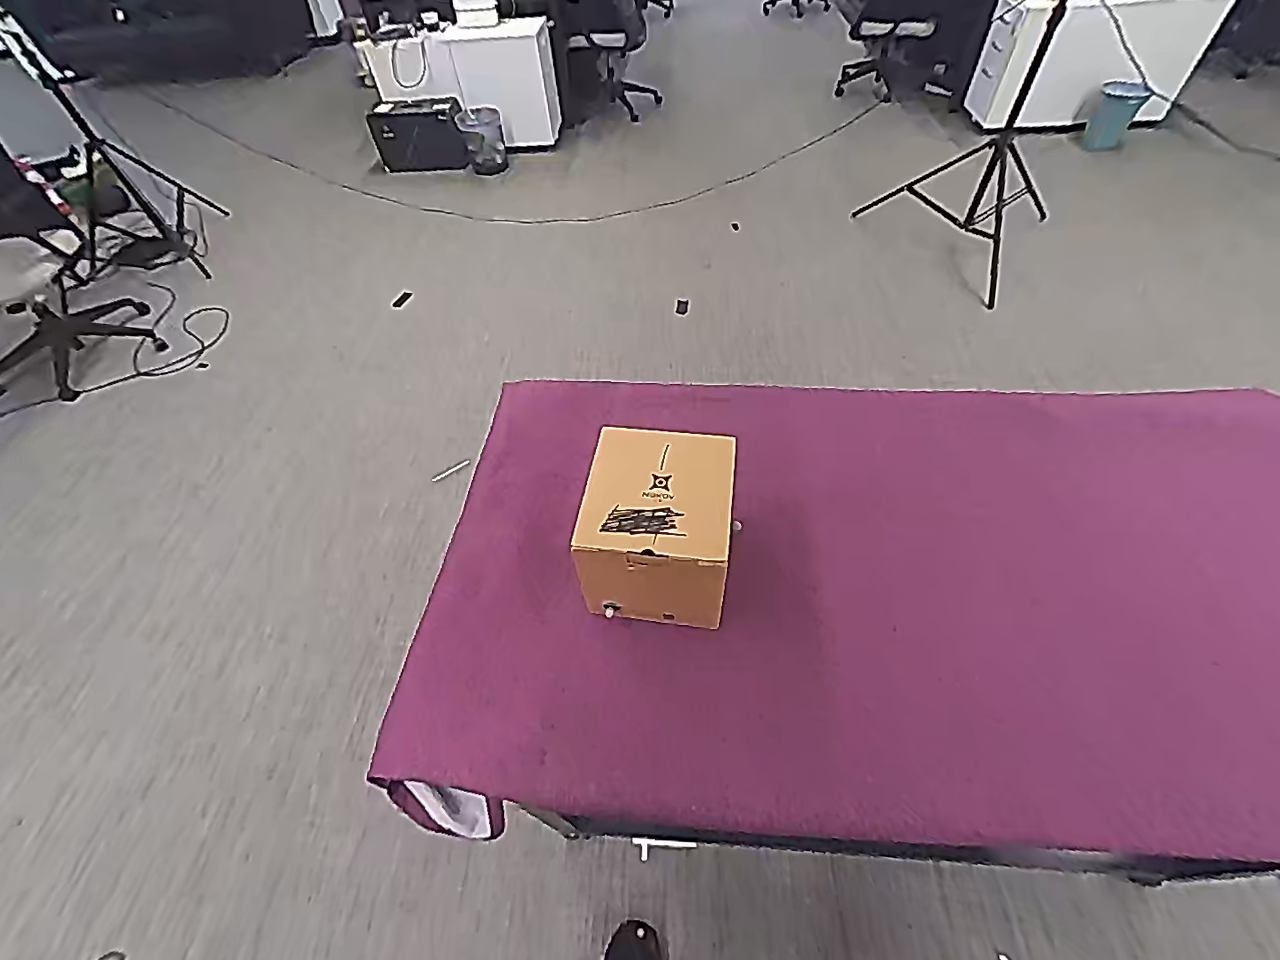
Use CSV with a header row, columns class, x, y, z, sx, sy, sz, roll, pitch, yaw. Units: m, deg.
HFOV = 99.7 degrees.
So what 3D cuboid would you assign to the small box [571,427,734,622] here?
class,x,y,z,sx,sy,sz,roll,pitch,yaw
small box,0.024,0.058,0.671,0.168,0.176,0.179,5,52,8
